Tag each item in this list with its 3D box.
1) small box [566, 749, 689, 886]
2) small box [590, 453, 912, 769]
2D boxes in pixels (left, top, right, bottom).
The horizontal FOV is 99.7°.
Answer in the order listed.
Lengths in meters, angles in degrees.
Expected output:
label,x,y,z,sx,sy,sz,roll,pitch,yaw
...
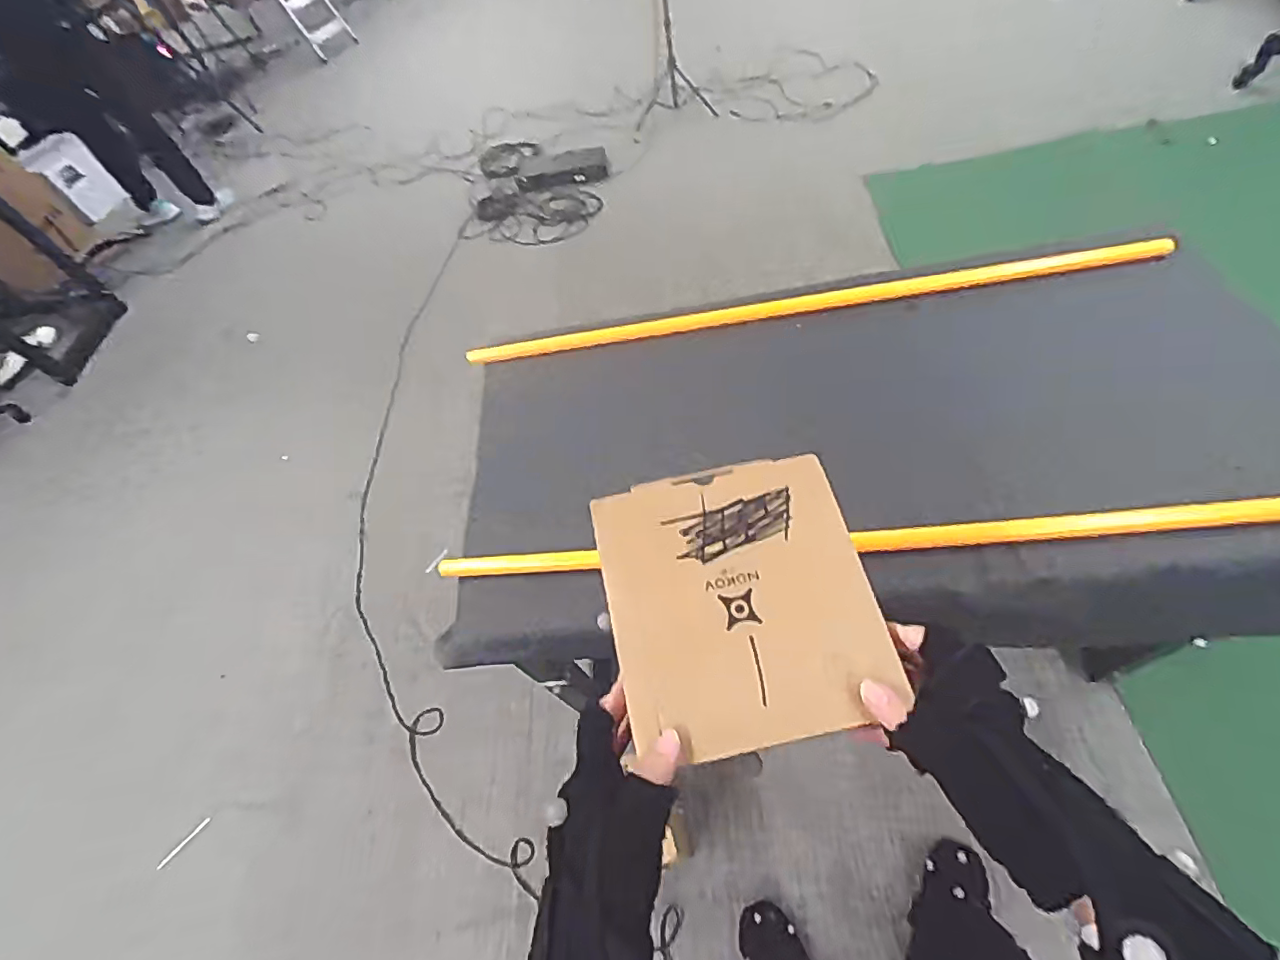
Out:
label,x,y,z,sx,sy,sz,roll,pitch,yaw
small box,-0.019,0.621,1.009,0.168,0.176,0.179,-21,55,0
small box,0.066,0.109,0.416,0.168,0.176,0.179,-14,61,-1
